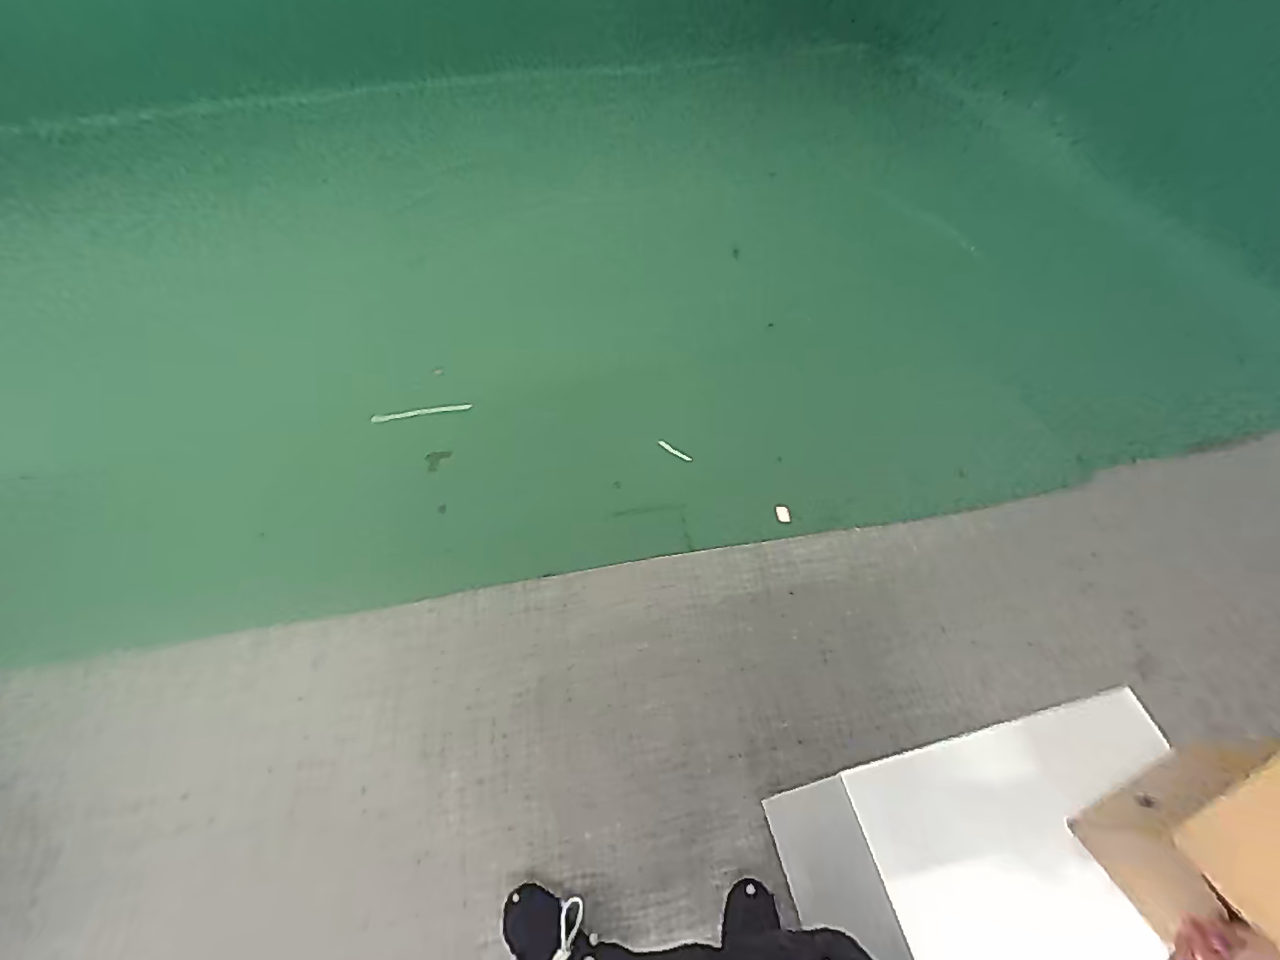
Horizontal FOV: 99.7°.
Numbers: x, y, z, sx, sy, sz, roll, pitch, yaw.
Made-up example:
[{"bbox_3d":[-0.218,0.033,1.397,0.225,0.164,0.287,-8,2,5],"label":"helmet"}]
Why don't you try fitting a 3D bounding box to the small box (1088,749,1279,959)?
[{"bbox_3d":[0.574,0.376,0.500,0.179,0.176,0.168,-27,60,-7],"label":"small box"}]
